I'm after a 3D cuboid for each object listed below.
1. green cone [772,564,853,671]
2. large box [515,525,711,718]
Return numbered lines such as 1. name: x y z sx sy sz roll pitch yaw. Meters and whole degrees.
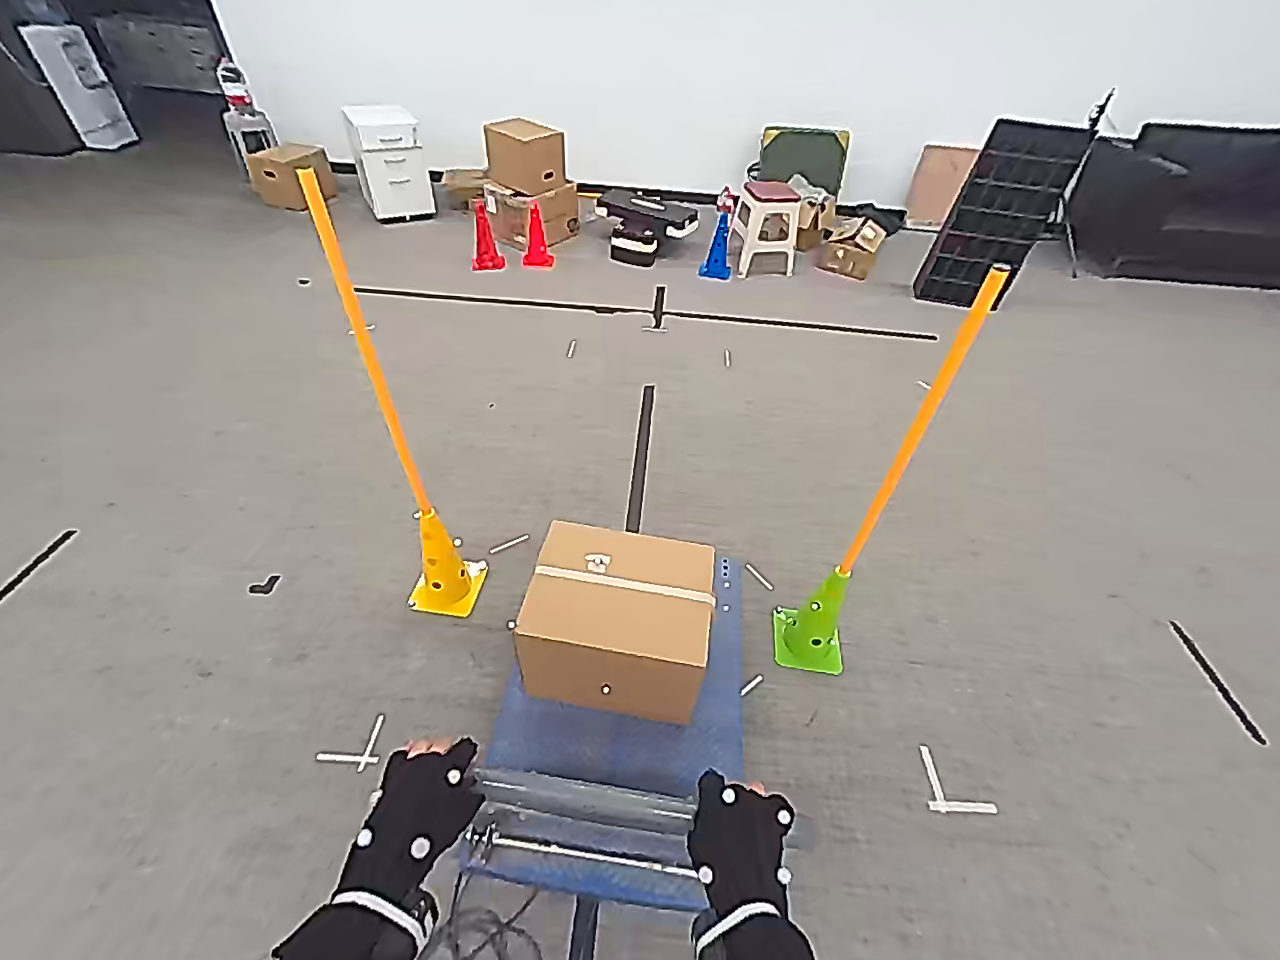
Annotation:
1. green cone: 0.527 0.366 1.557 0.202 0.368 0.200 9 45 3
2. large box: -0.049 0.348 1.323 0.408 0.320 0.320 9 45 5
